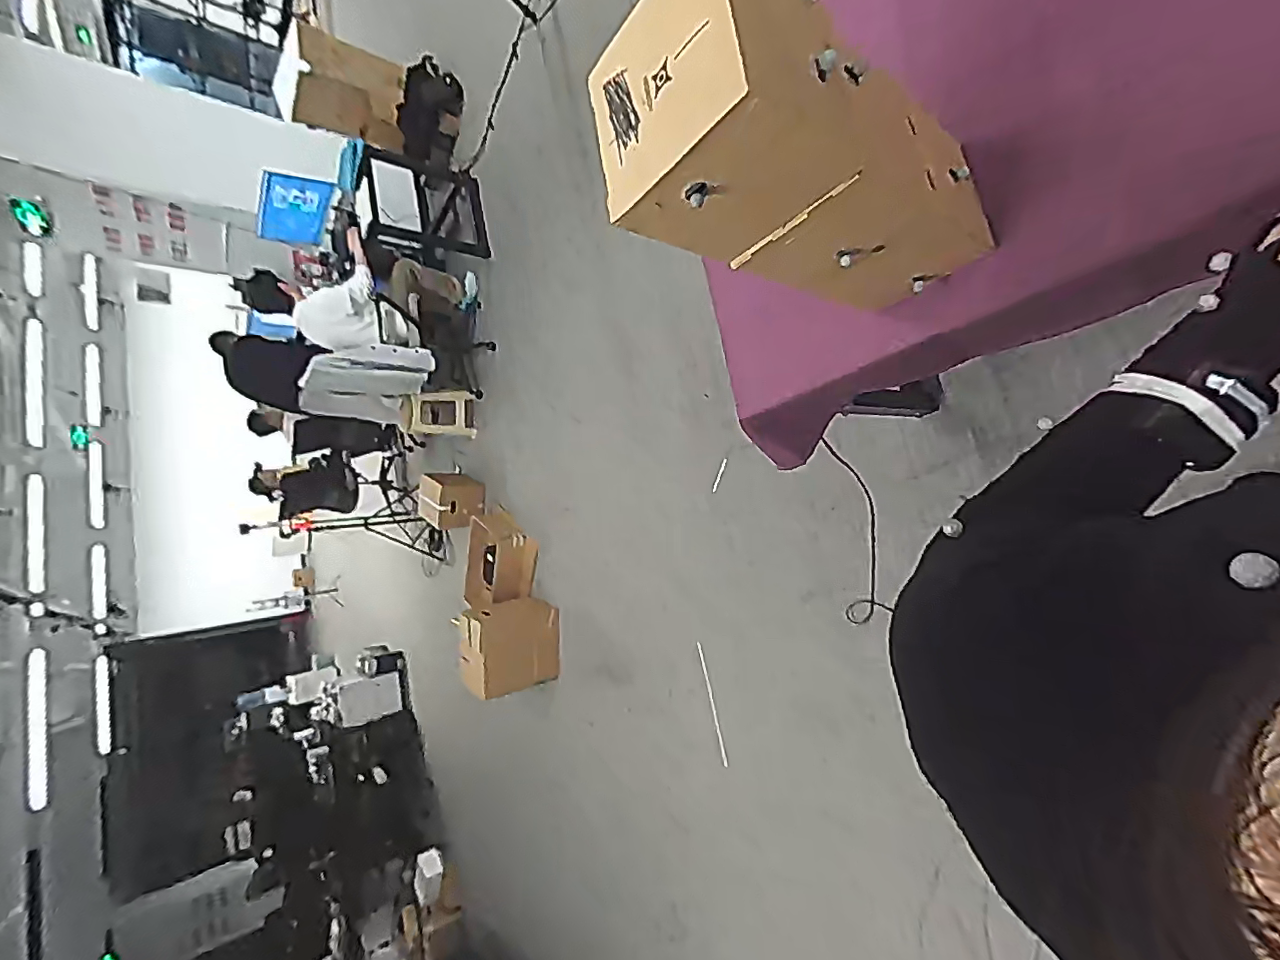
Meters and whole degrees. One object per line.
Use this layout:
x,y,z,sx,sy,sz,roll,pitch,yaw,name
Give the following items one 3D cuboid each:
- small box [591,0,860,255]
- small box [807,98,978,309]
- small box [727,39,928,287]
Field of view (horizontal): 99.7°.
0.078,-0.346,0.522,0.179,0.176,0.168,-19,78,49,small box
0.329,-0.355,0.735,0.179,0.176,0.168,-24,74,48,small box
0.202,-0.352,0.630,0.168,0.176,0.179,-22,76,50,small box
